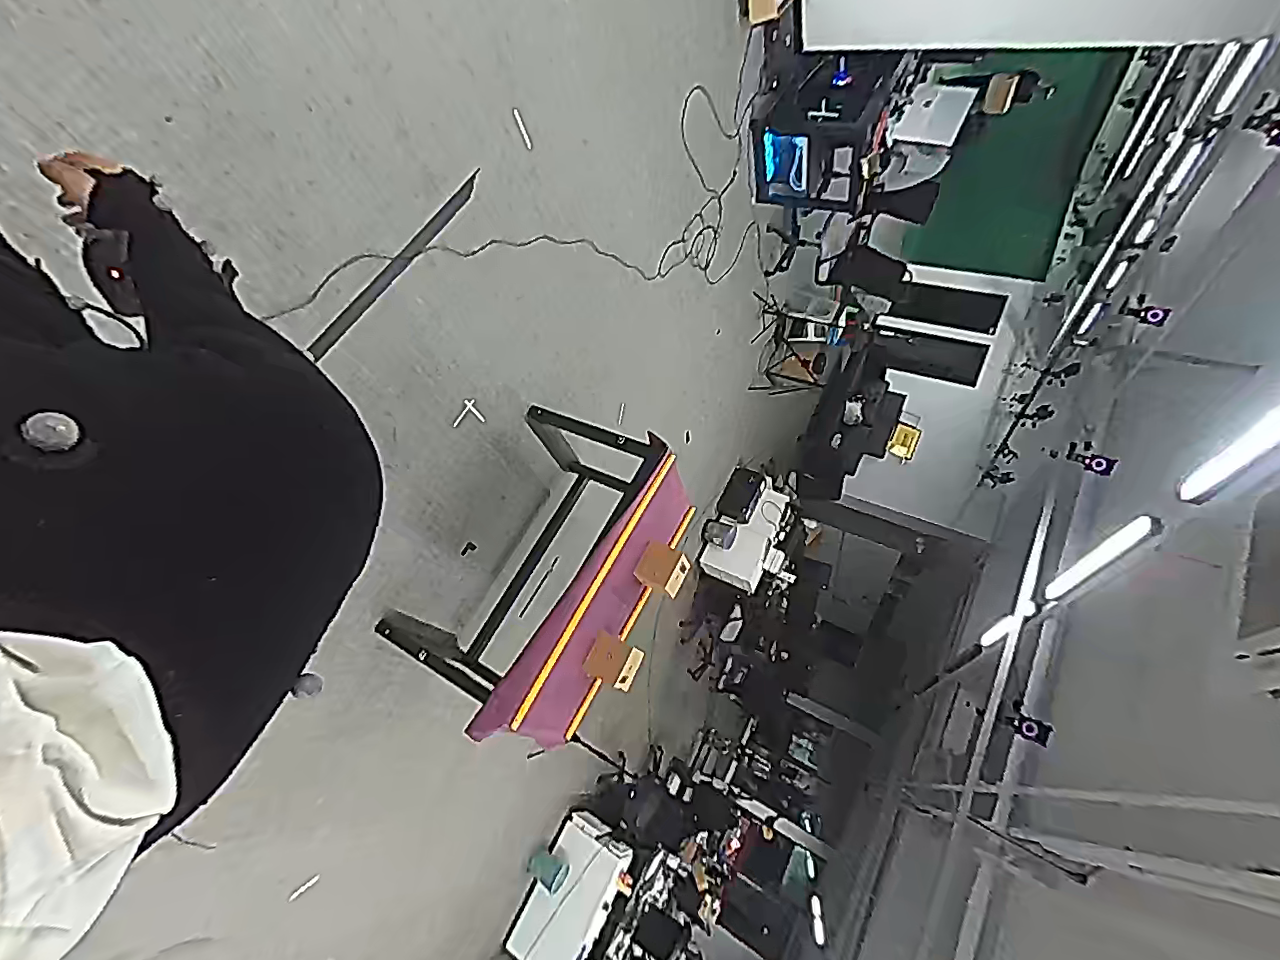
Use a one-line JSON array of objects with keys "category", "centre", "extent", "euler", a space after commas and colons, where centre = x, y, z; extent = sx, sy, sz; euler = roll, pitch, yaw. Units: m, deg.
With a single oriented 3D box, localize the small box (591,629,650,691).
[{"category": "small box", "centre": [-0.087, 0.756, 2.271], "extent": [0.179, 0.176, 0.168], "euler": [-62, 152, -17]}]
